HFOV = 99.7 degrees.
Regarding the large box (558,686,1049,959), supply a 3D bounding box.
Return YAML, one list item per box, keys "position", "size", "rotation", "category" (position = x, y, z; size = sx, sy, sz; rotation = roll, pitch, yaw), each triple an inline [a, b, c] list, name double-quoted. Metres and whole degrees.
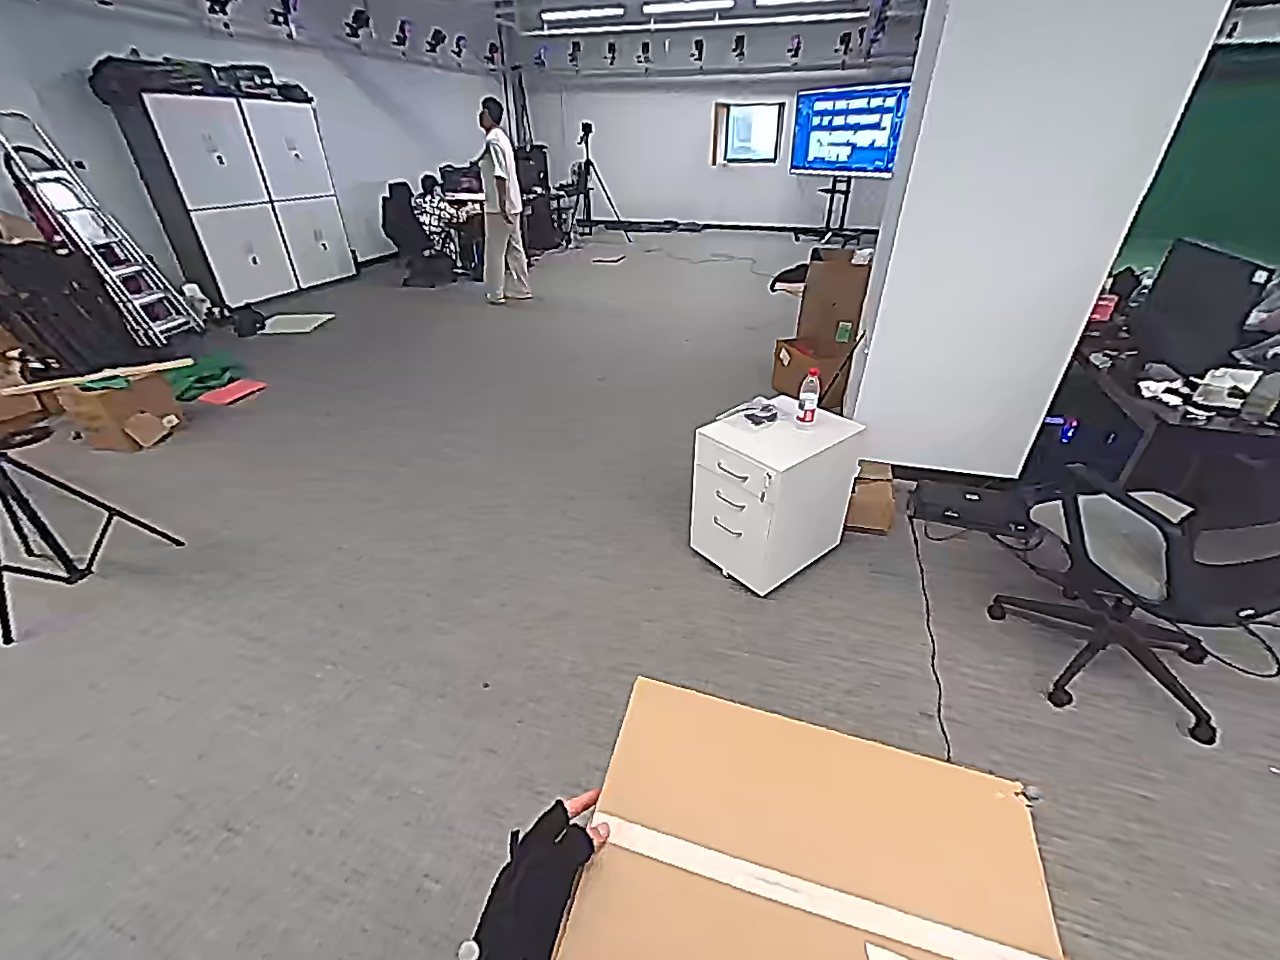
- position: [0.144, 0.484, 0.581]
  size: [0.408, 0.320, 0.320]
  rotation: [12, 43, 11]
  category: "large box"
